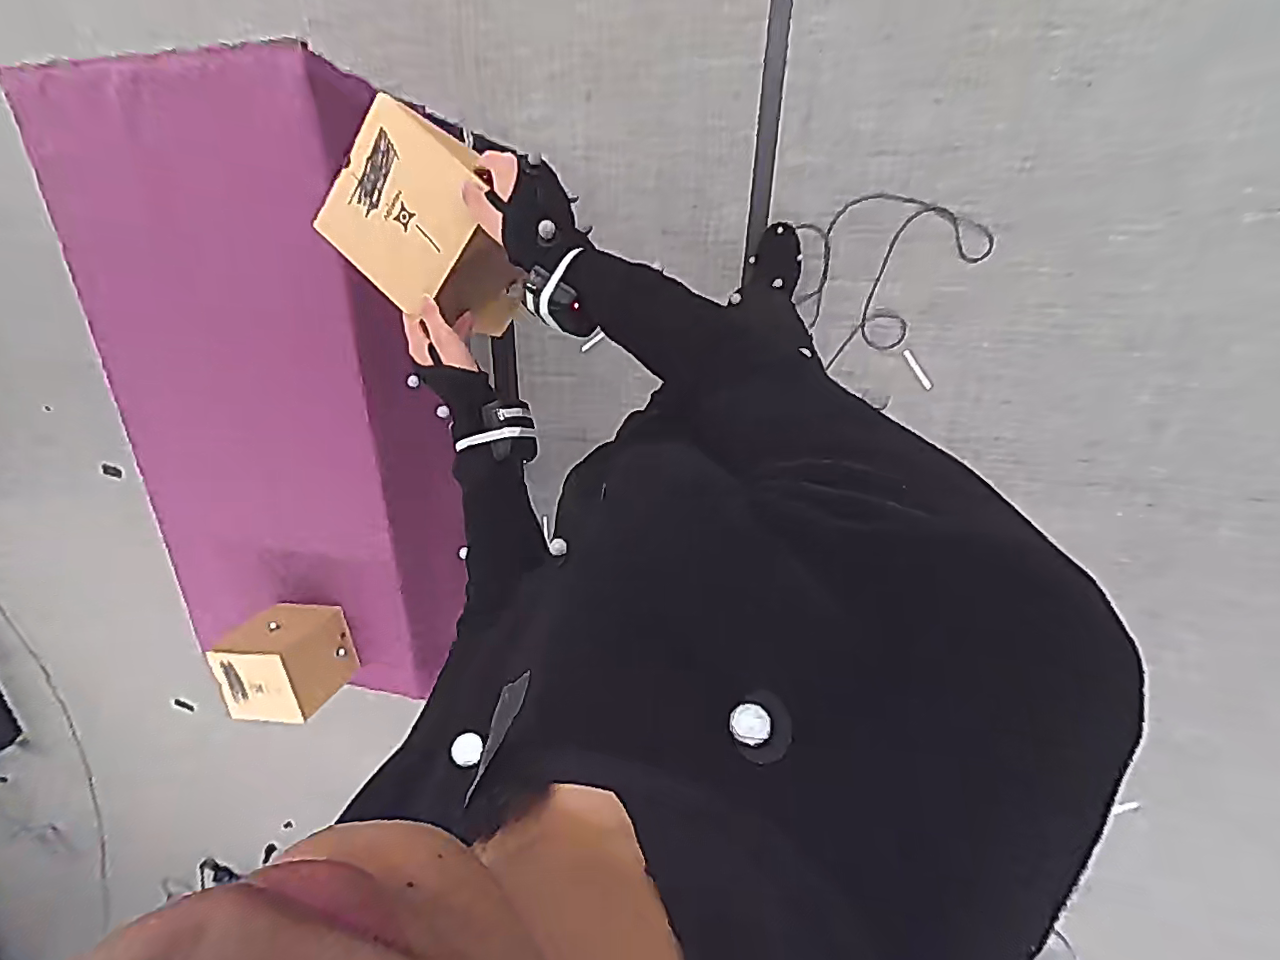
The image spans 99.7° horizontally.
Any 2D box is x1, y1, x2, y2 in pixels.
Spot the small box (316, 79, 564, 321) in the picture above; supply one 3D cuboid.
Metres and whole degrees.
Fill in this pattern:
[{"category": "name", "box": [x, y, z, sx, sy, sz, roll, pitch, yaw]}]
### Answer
[{"category": "small box", "box": [-0.225, -0.307, 0.640, 0.179, 0.176, 0.168, 44, 111, 6]}]
